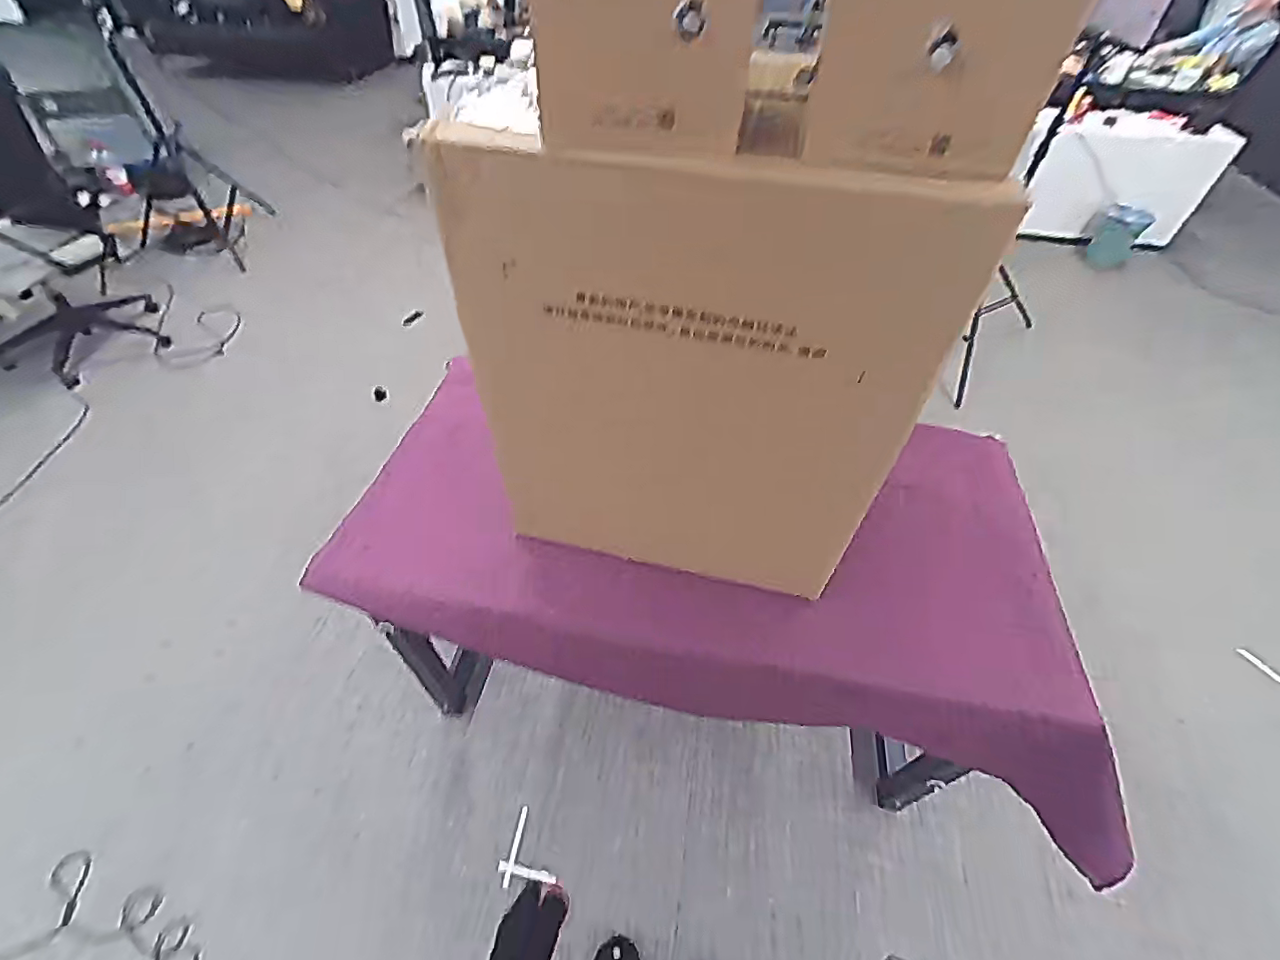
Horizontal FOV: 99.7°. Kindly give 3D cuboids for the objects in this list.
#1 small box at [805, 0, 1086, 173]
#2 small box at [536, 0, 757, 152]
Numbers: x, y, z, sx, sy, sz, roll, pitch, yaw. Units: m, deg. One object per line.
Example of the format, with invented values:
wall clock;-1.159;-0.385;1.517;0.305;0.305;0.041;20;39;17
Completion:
small box;0.237;-0.370;0.434;0.168;0.176;0.179;11;51;8
small box;0.007;-0.397;0.457;0.168;0.176;0.179;2;49;-1
